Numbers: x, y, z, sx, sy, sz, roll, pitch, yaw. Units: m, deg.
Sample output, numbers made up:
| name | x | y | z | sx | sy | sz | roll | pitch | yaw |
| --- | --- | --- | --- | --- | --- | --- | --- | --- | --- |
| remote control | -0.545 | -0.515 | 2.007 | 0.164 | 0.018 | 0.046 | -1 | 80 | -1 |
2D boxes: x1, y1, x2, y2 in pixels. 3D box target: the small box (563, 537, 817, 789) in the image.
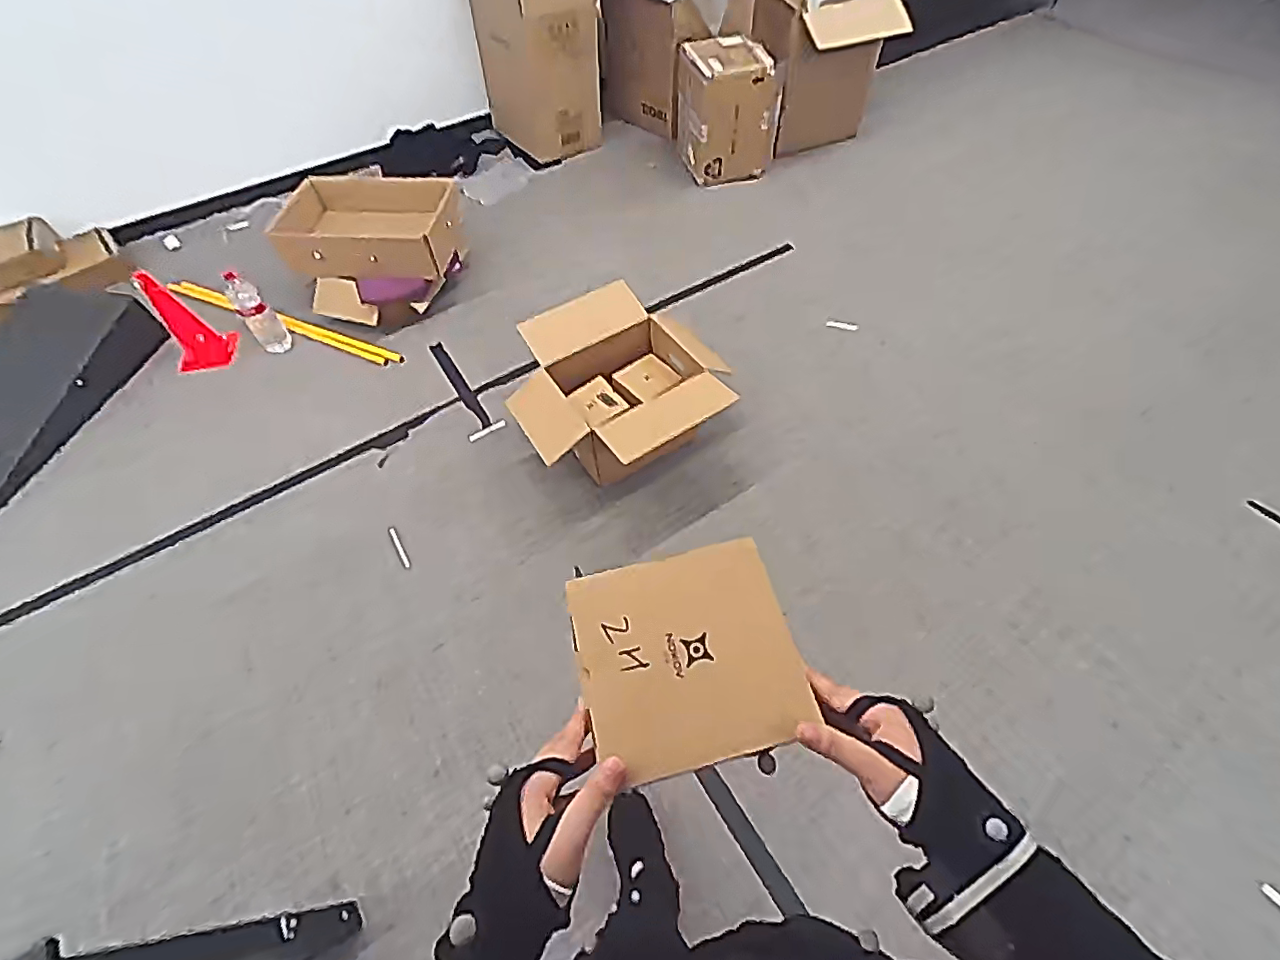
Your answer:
| name | x | y | z | sx | sy | sz | roll | pitch | yaw |
| --- | --- | --- | --- | --- | --- | --- | --- | --- | --- |
| small box | 0.035 | 0.176 | 0.509 | 0.179 | 0.176 | 0.168 | -13 | 61 | -6 |
